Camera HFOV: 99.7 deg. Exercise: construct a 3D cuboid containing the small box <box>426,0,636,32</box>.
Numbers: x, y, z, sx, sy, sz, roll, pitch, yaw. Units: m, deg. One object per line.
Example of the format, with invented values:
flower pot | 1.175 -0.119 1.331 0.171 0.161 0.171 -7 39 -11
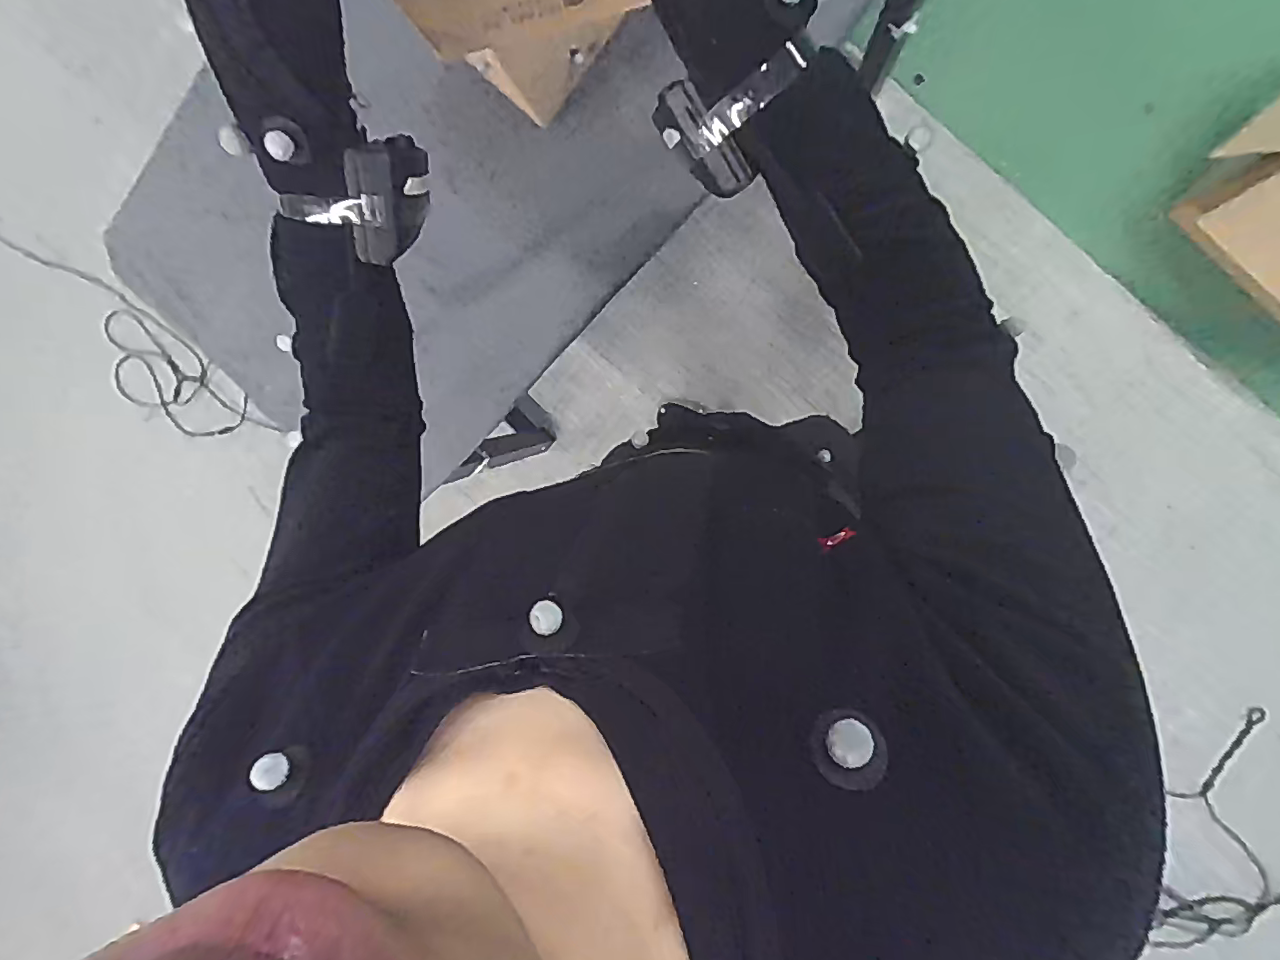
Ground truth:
small box | -0.074 -0.383 0.281 0.168 0.176 0.179 -8 97 8
